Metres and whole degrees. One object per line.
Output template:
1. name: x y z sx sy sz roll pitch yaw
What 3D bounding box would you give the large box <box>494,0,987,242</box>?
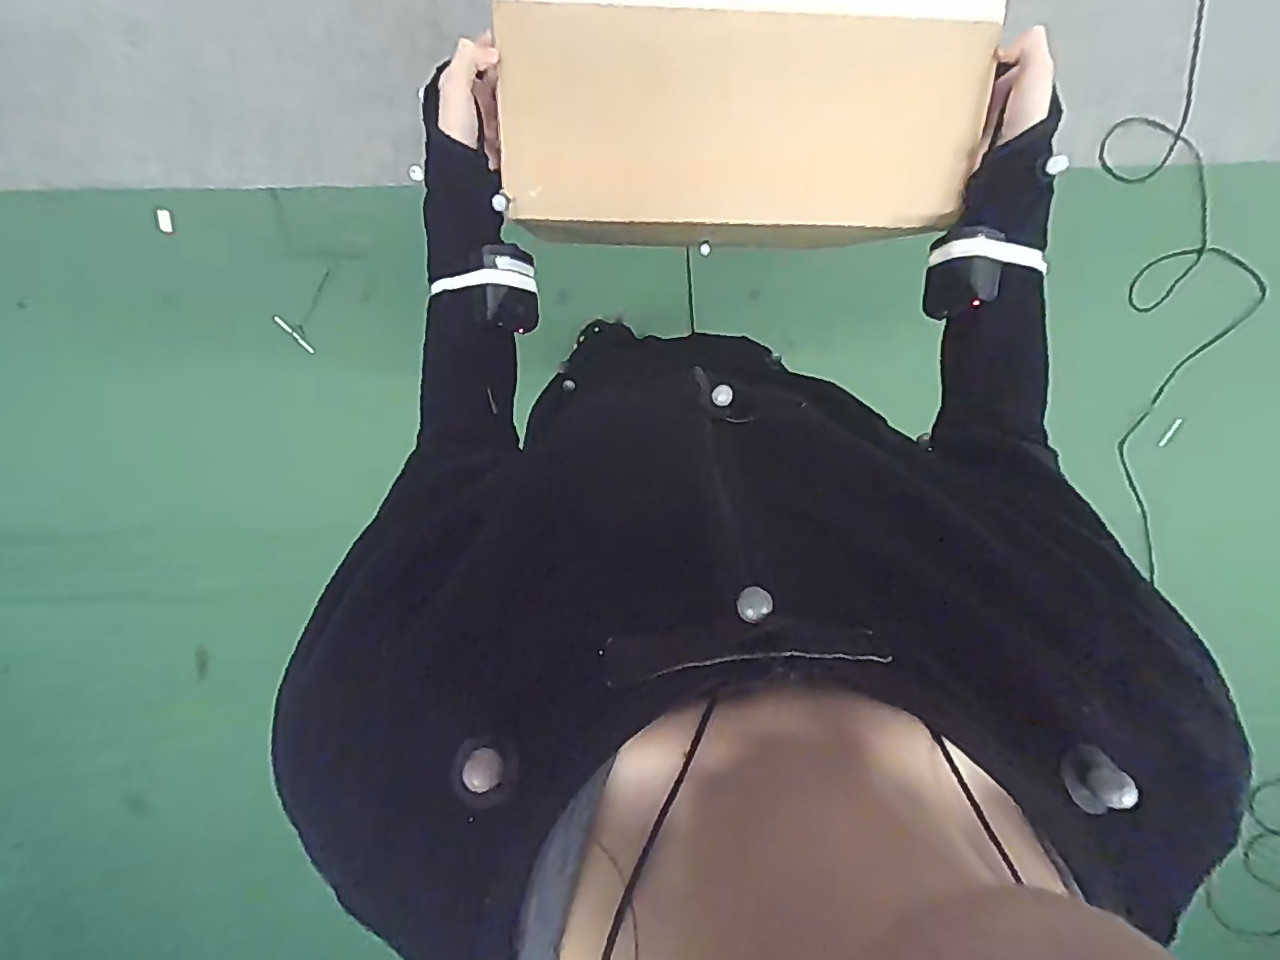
1. large box: 0.077 -0.426 0.571 0.408 0.320 0.320 -1 110 -3
